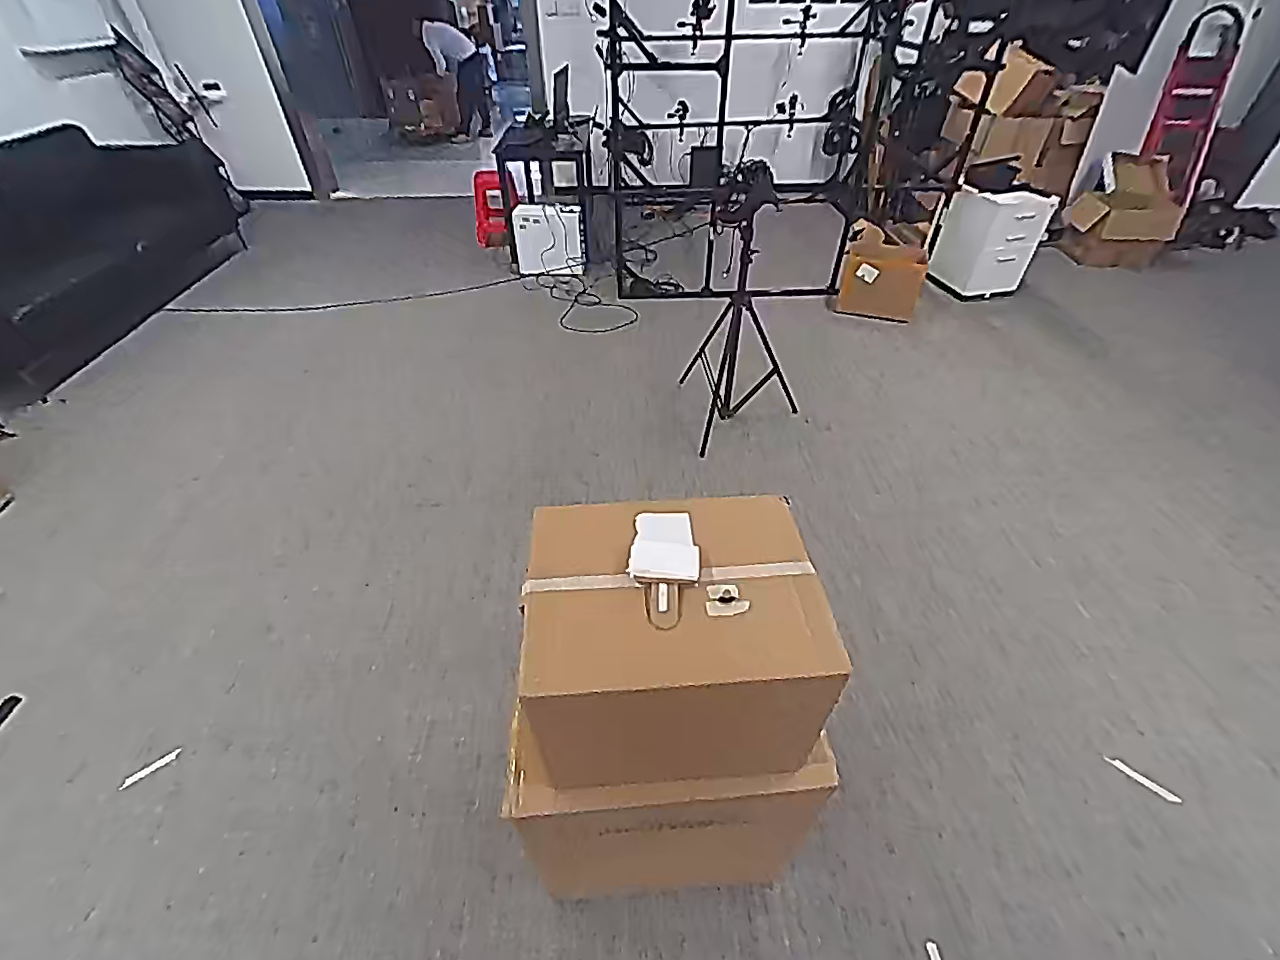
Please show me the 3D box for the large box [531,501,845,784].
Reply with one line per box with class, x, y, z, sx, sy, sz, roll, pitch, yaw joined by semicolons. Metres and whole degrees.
large box;0.048;0.258;0.874;0.408;0.320;0.320;-3;43;-4
